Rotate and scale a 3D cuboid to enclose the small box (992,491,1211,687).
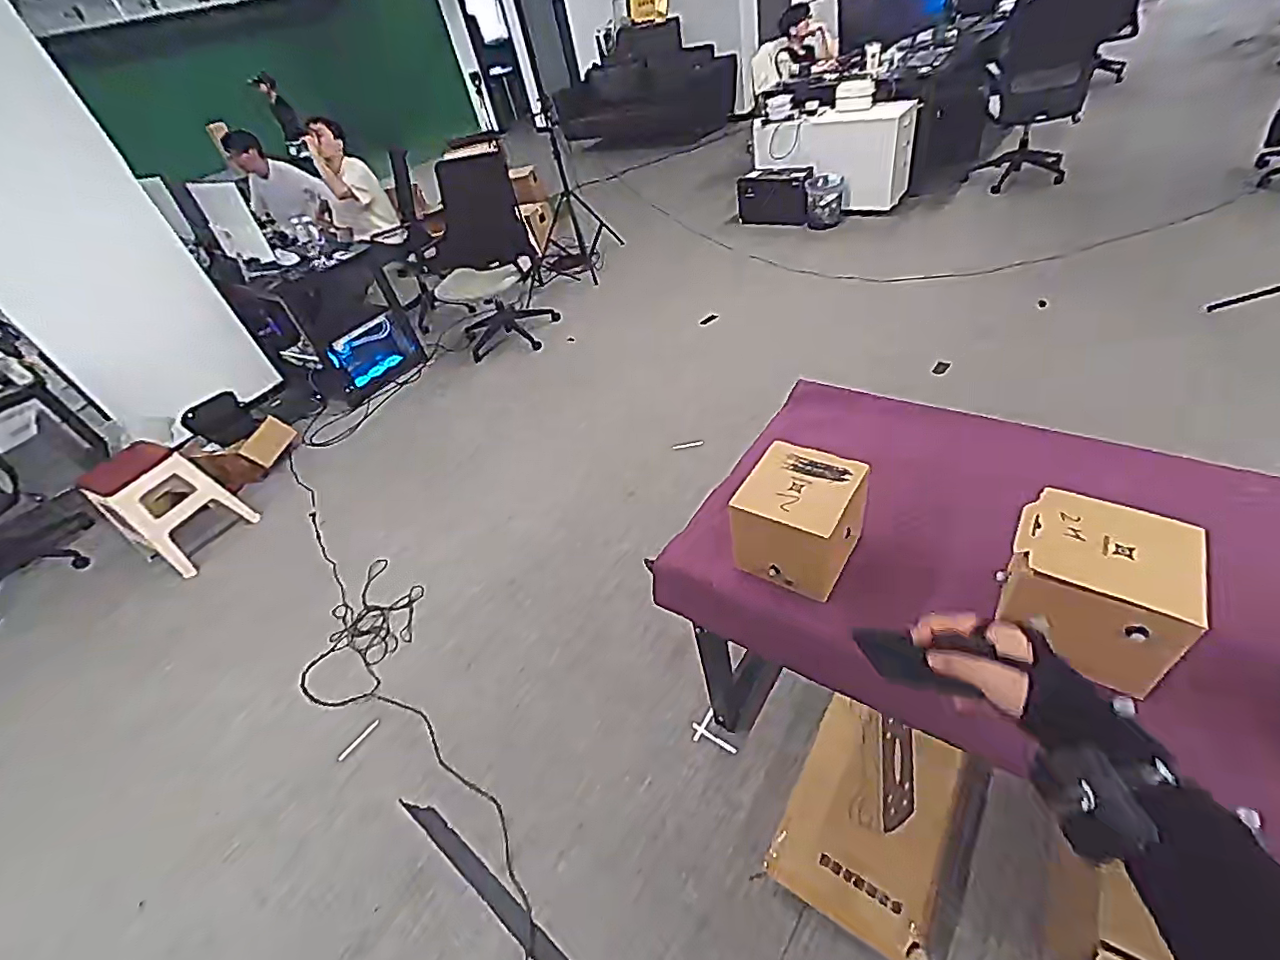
[{"bbox_3d":[0.606,0.147,0.725,0.179,0.176,0.168,18,49,32],"label":"small box"}]
